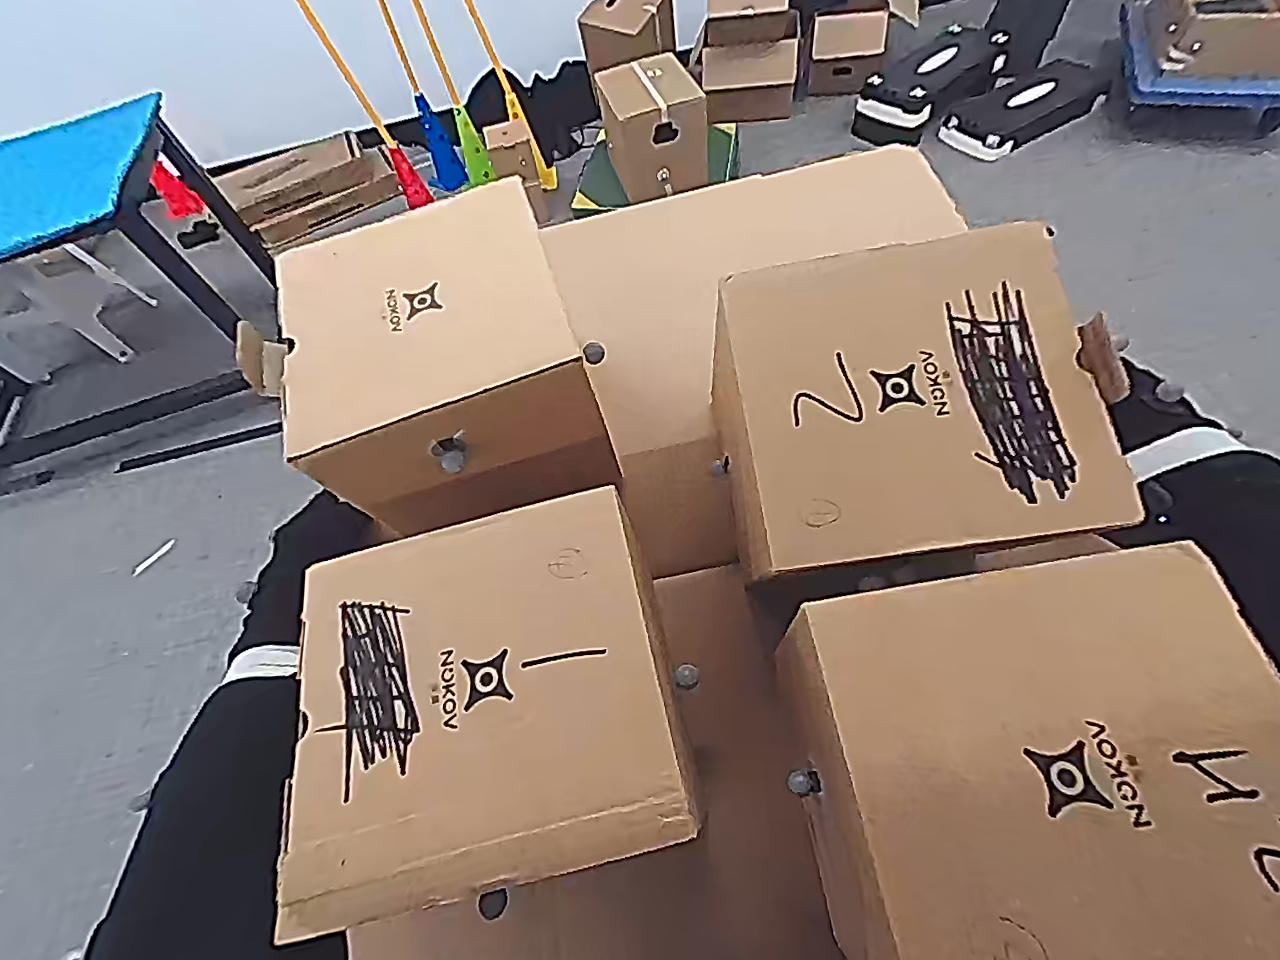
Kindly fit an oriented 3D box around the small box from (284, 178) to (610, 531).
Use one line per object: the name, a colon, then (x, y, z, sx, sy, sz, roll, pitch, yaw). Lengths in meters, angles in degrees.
small box: (-0.130, -0.081, 0.414, 0.179, 0.176, 0.168, -20, 64, 0)
